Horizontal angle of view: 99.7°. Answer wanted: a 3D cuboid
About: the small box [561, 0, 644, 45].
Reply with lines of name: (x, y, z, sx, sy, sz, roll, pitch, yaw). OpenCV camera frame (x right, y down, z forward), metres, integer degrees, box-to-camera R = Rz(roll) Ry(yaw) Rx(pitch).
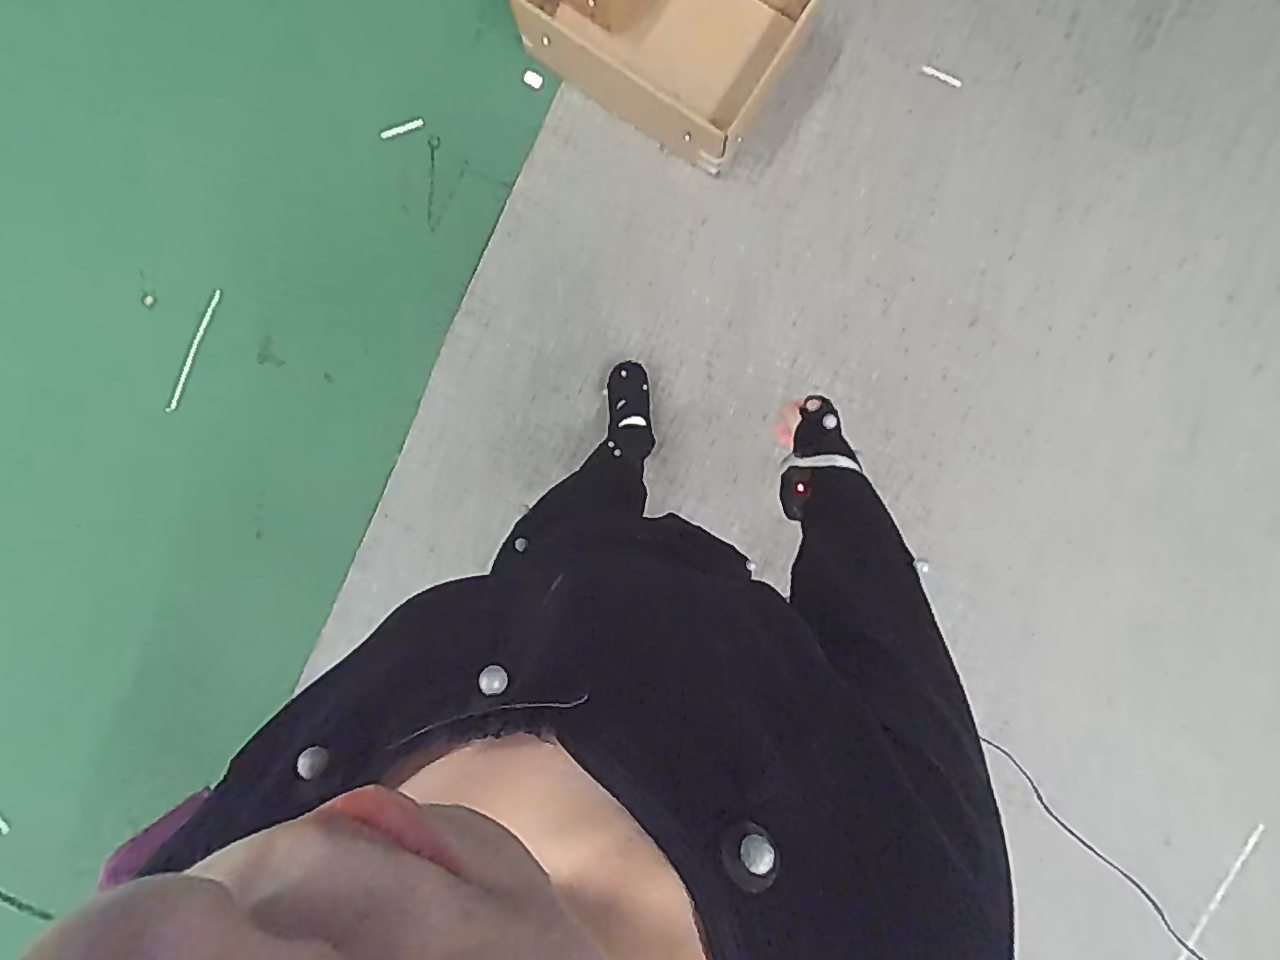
small box: (-0.088, -1.194, 1.273, 0.168, 0.176, 0.179, 36, 95, -1)
